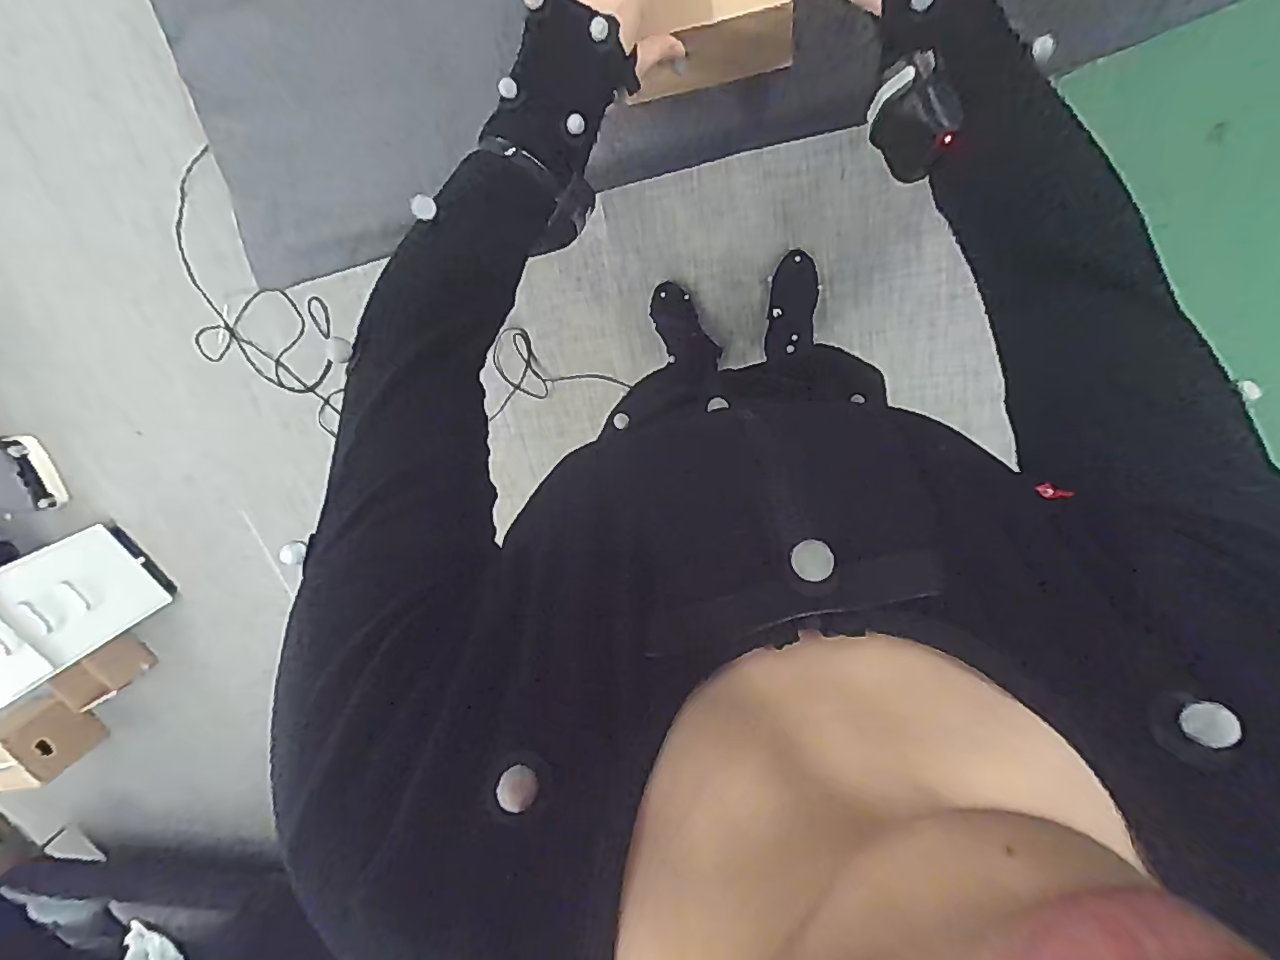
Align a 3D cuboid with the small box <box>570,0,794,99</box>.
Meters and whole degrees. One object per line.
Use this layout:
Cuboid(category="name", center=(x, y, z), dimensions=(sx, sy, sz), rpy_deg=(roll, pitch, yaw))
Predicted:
Cuboid(category="small box", center=(0.040, -0.456, 0.466), dimensions=(0.179, 0.176, 0.168), rpy_deg=(-2, 114, 16))
